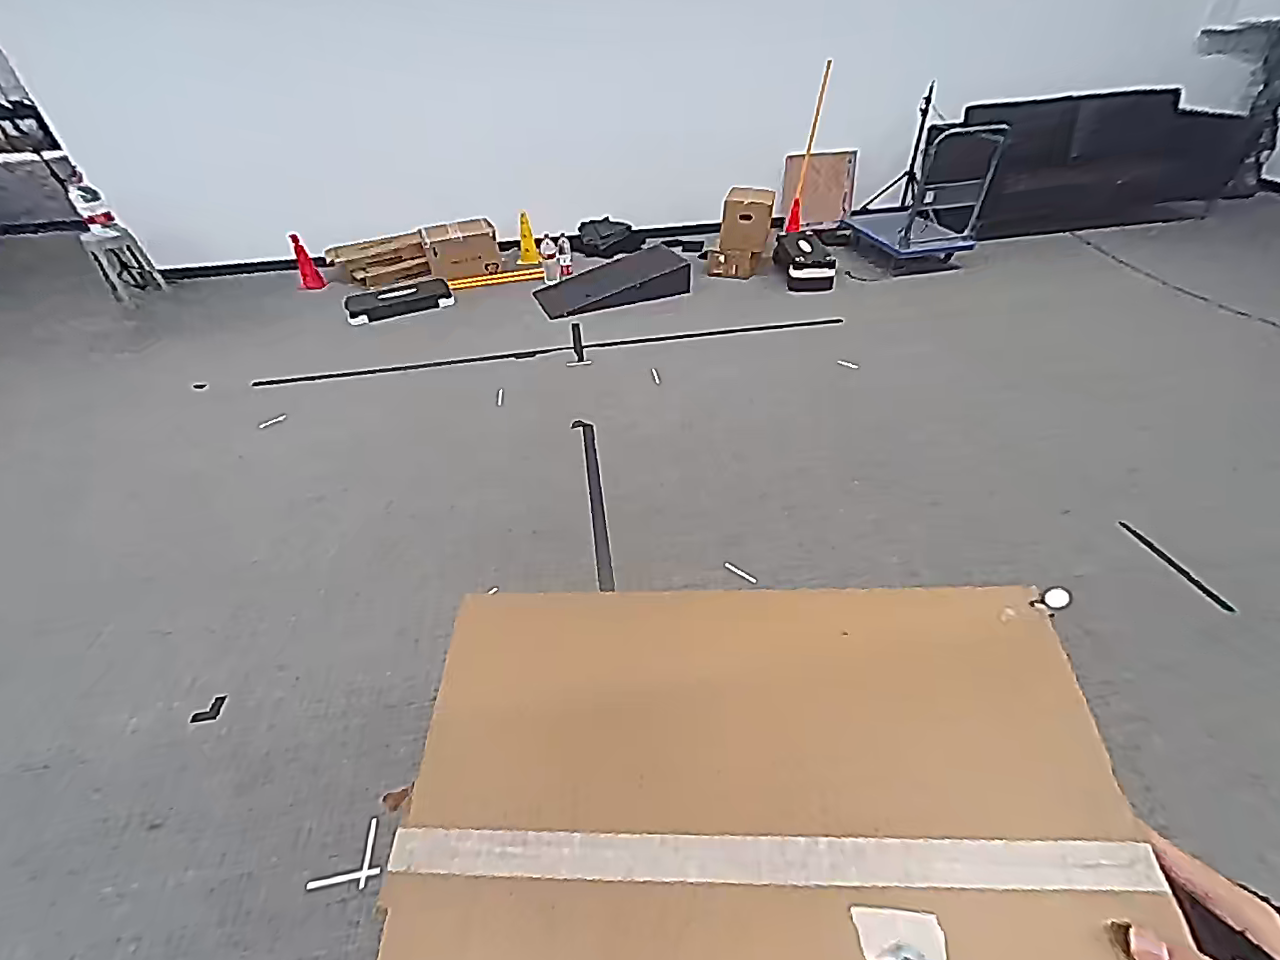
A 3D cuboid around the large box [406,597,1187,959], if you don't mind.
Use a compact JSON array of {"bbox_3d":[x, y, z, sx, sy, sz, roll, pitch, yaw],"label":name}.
[{"bbox_3d":[0.082,0.301,0.423,0.408,0.320,0.320,-2,55,4],"label":"large box"}]
